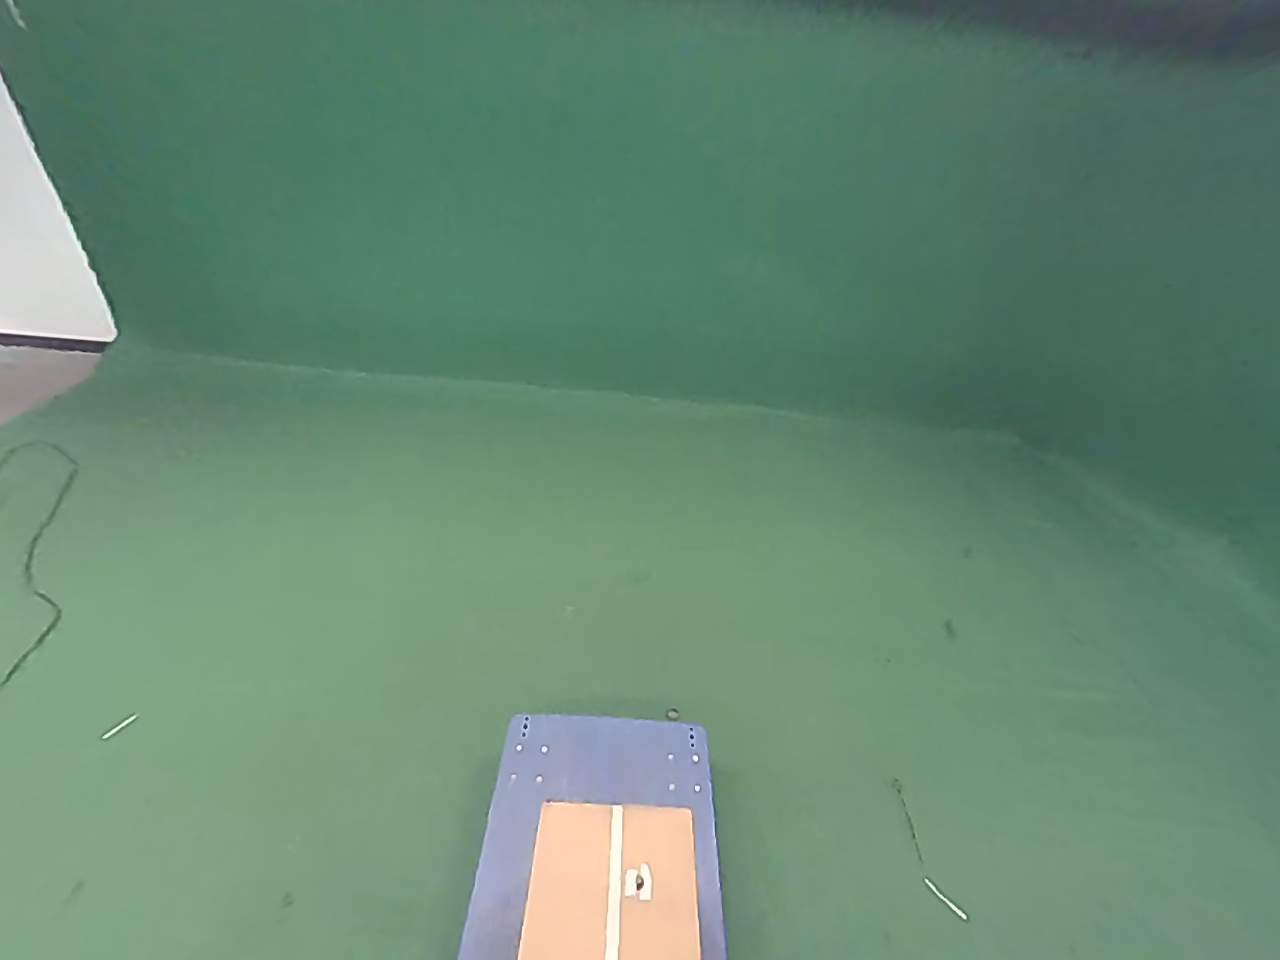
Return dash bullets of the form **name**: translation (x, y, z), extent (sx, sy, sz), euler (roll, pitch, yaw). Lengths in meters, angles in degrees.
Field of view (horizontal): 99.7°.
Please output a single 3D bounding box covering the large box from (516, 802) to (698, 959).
- **large box**: translation (-0.067, 0.908, 1.039), extent (0.320, 0.320, 0.408), euler (5, 34, -3)
